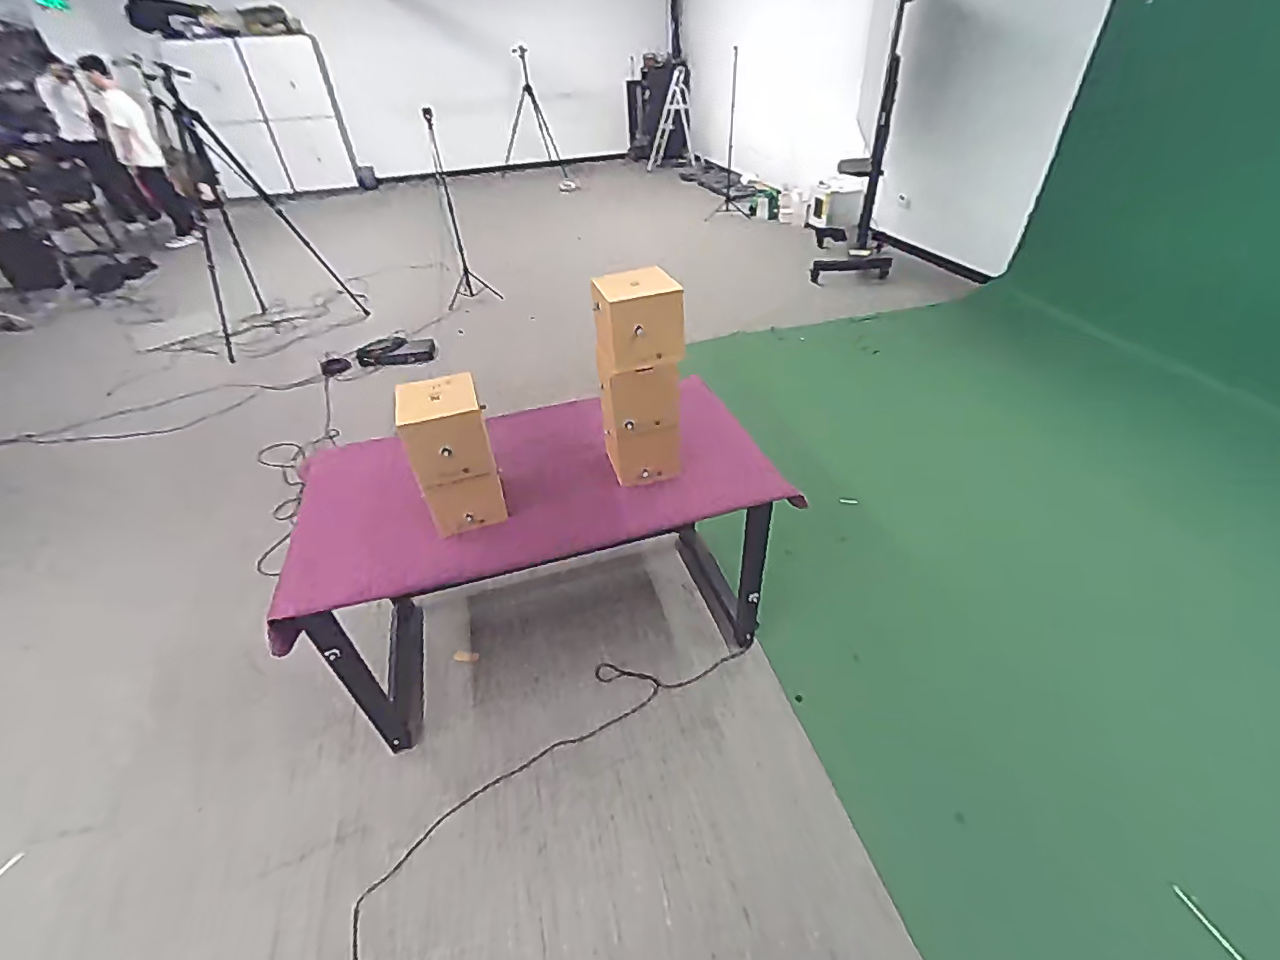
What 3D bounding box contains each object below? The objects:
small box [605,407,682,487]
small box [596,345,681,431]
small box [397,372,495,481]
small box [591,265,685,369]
[{"bbox_3d":[0.008,-0.107,1.419,0.168,0.176,0.179,-13,40,-9],"label":"small box"},{"bbox_3d":[-0.002,-0.232,1.314,0.168,0.176,0.179,-13,38,-9],"label":"small box"},{"bbox_3d":[-0.428,-0.115,1.203,0.168,0.176,0.179,-14,41,-13],"label":"small box"},{"bbox_3d":[-0.002,-0.362,1.216,0.168,0.176,0.179,-15,38,-10],"label":"small box"}]
